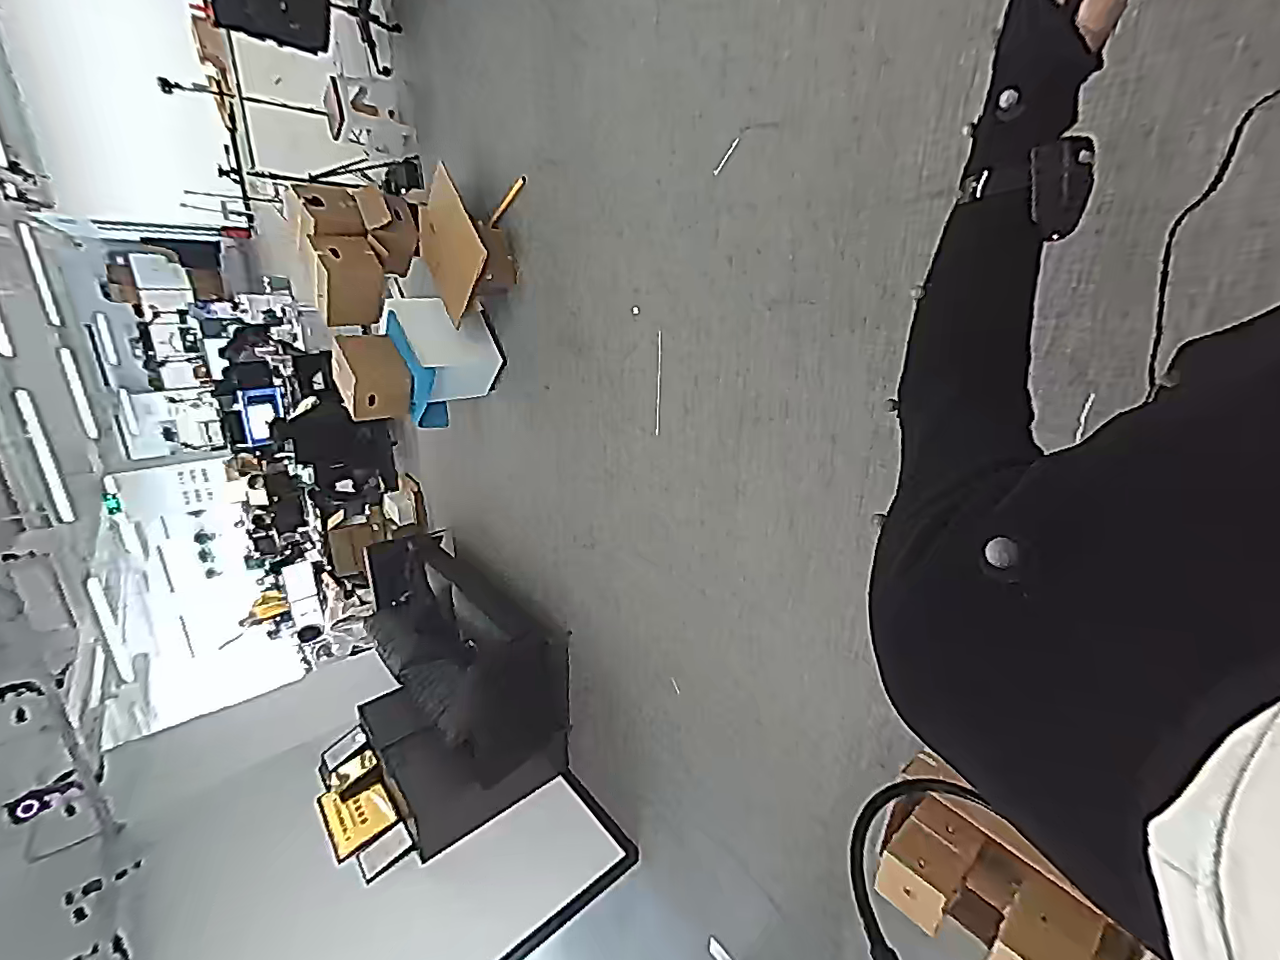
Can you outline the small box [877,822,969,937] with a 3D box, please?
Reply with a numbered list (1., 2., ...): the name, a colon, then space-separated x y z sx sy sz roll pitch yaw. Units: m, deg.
1. small box: 0.827 1.153 1.578 0.179 0.176 0.168 24 118 45
